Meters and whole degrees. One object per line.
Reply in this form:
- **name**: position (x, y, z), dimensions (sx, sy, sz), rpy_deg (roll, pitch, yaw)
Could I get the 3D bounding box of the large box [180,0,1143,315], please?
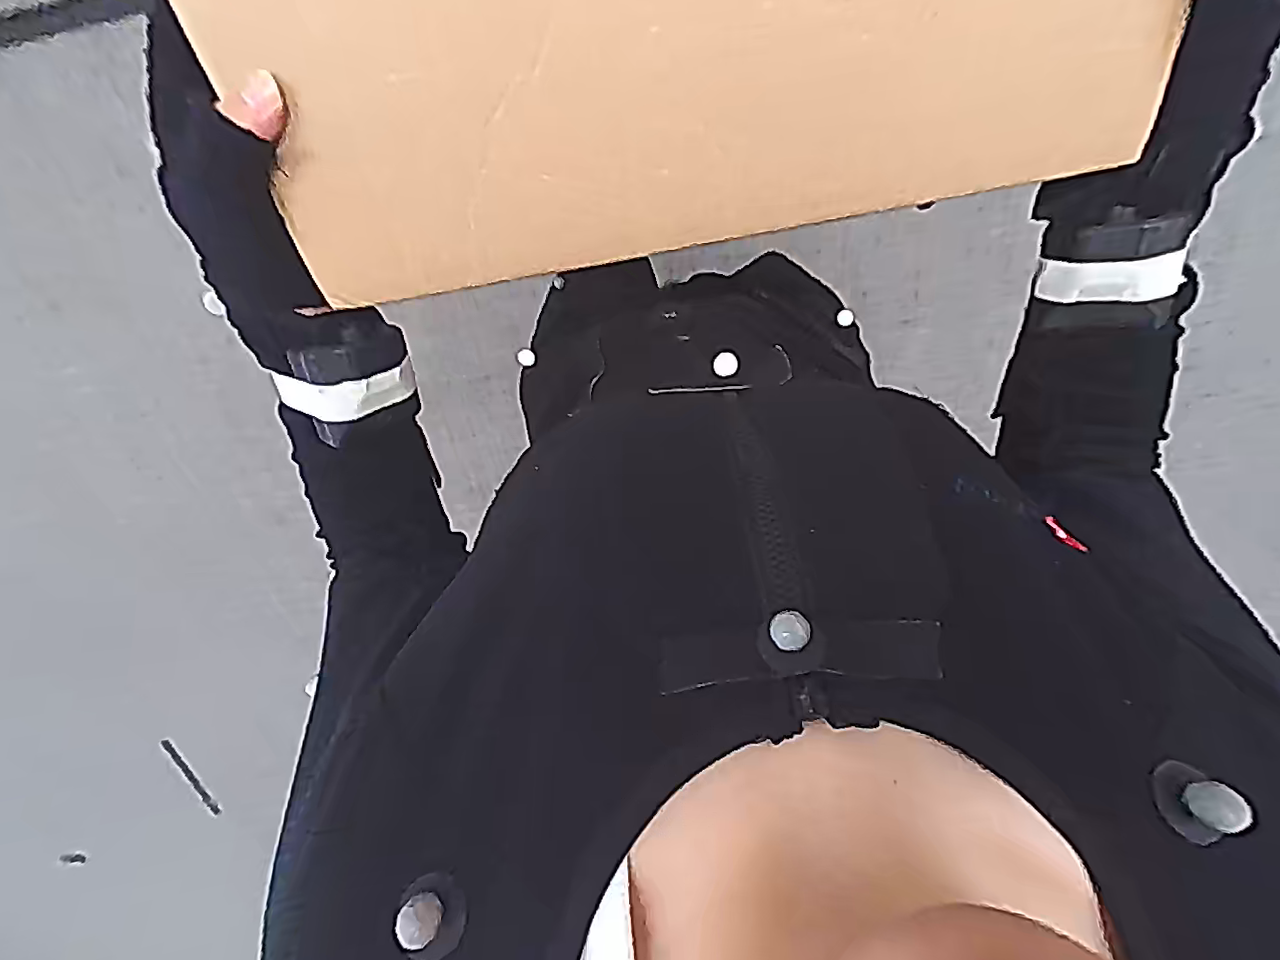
- **large box**: position (0.002, -0.332, 0.313), dimensions (0.408, 0.320, 0.320), rpy_deg (-9, 125, 4)
